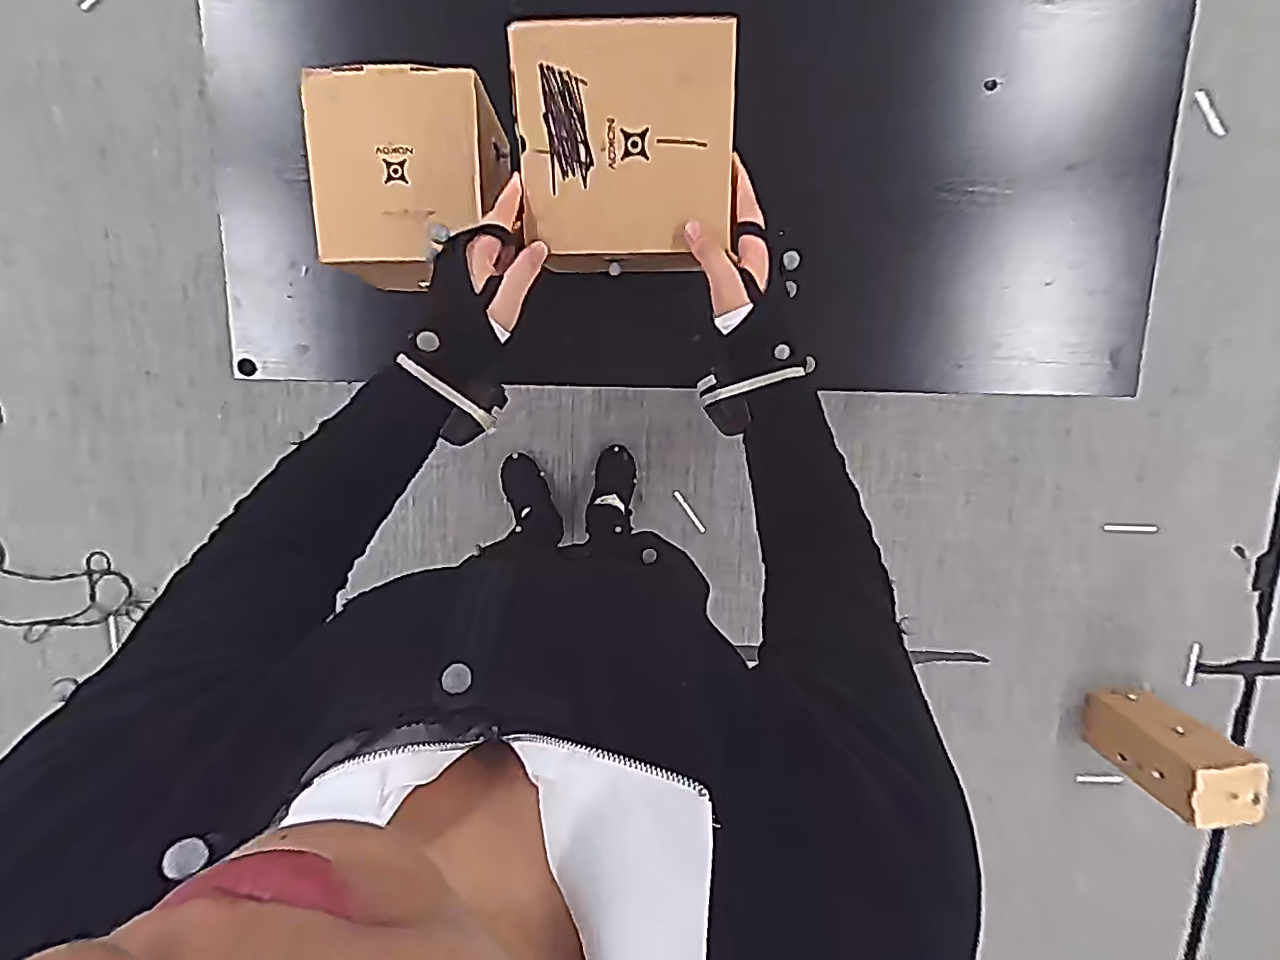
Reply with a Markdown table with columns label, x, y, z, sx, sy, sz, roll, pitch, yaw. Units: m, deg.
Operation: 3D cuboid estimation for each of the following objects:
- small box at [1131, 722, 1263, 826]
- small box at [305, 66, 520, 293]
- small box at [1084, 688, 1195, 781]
| label | x | y | z | sx | sy | sz | roll | pitch | yaw |
| --- | --- | --- | --- | --- | --- | --- | --- | --- | --- |
| small box | 1.432 | 0.755 | 1.402 | 0.179 | 0.176 | 0.168 | -6 | 100 | 0 |
| small box | -0.234 | -0.316 | 0.602 | 0.168 | 0.176 | 0.179 | -2 | 100 | -1 |
| small box | 1.435 | 0.731 | 1.564 | 0.168 | 0.176 | 0.179 | -5 | 99 | -1 |
